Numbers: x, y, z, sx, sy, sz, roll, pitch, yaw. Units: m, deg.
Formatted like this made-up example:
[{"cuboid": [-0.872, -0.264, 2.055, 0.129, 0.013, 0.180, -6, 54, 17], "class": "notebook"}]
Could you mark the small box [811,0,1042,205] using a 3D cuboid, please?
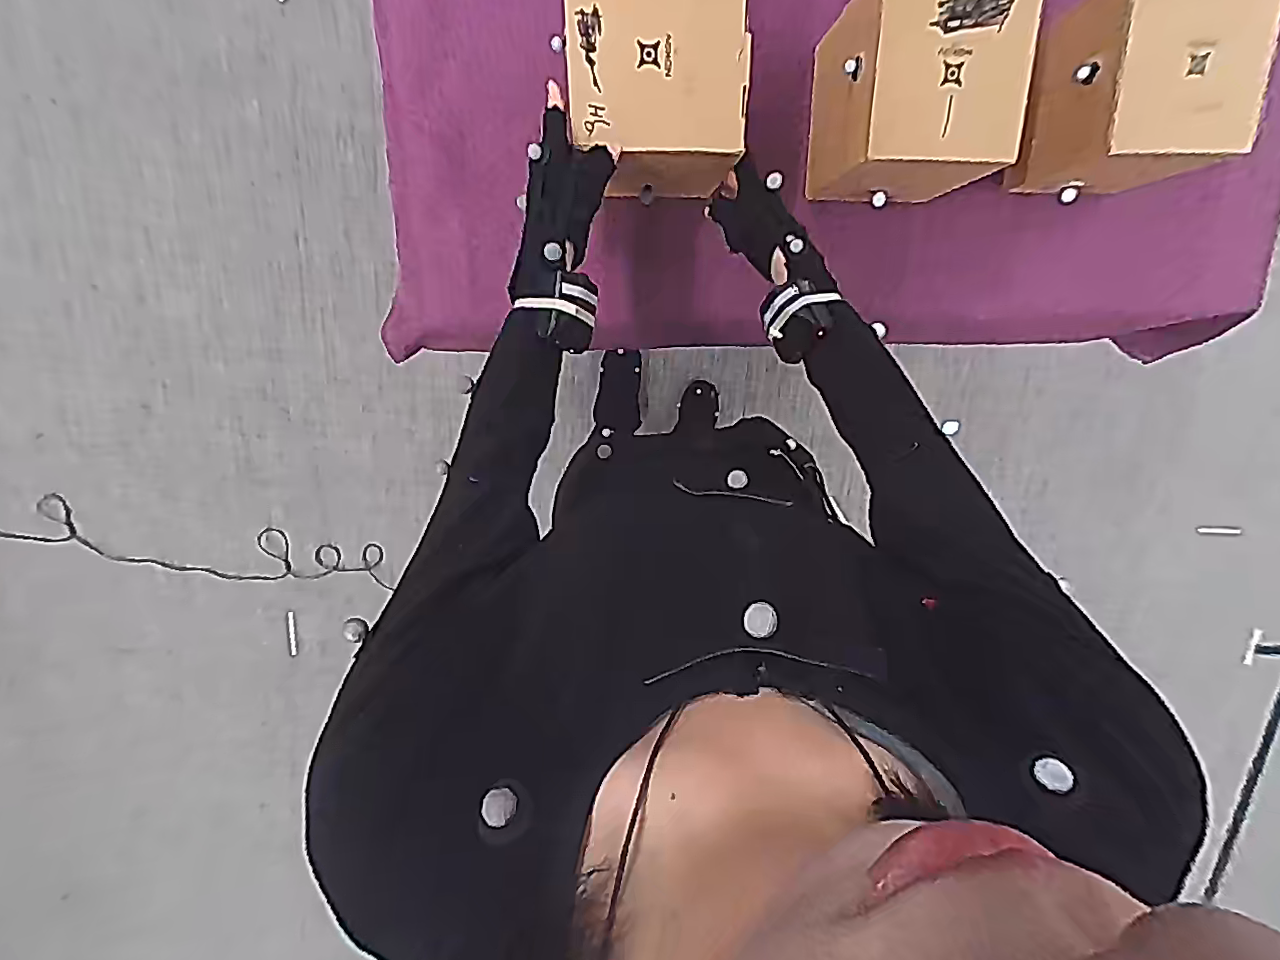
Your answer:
[{"cuboid": [0.308, -0.434, 0.619, 0.168, 0.176, 0.179, -1, 104, -5], "class": "small box"}]

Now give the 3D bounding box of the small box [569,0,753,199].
[{"cuboid": [0.013, -0.422, 0.595, 0.179, 0.176, 0.168, -2, 103, -6], "class": "small box"}]

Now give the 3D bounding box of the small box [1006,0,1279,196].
[{"cuboid": [0.573, -0.454, 0.639, 0.168, 0.176, 0.179, -3, 104, -3], "class": "small box"}]
